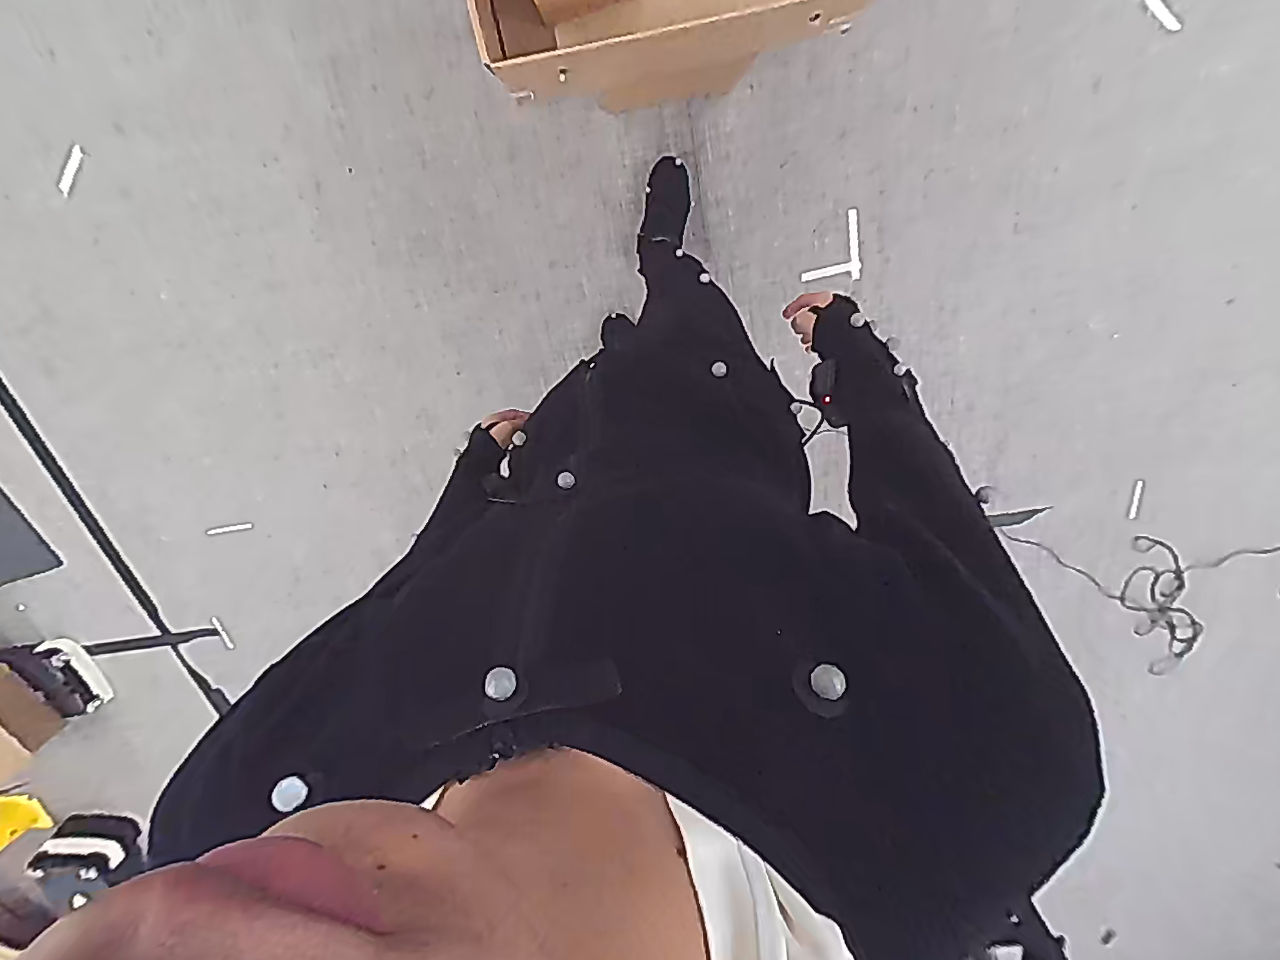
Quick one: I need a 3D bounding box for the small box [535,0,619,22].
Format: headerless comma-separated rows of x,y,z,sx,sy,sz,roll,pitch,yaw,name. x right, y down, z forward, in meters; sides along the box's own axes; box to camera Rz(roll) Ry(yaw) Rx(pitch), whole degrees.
-0.094,-0.816,0.786,0.179,0.176,0.168,-13,113,6,small box
